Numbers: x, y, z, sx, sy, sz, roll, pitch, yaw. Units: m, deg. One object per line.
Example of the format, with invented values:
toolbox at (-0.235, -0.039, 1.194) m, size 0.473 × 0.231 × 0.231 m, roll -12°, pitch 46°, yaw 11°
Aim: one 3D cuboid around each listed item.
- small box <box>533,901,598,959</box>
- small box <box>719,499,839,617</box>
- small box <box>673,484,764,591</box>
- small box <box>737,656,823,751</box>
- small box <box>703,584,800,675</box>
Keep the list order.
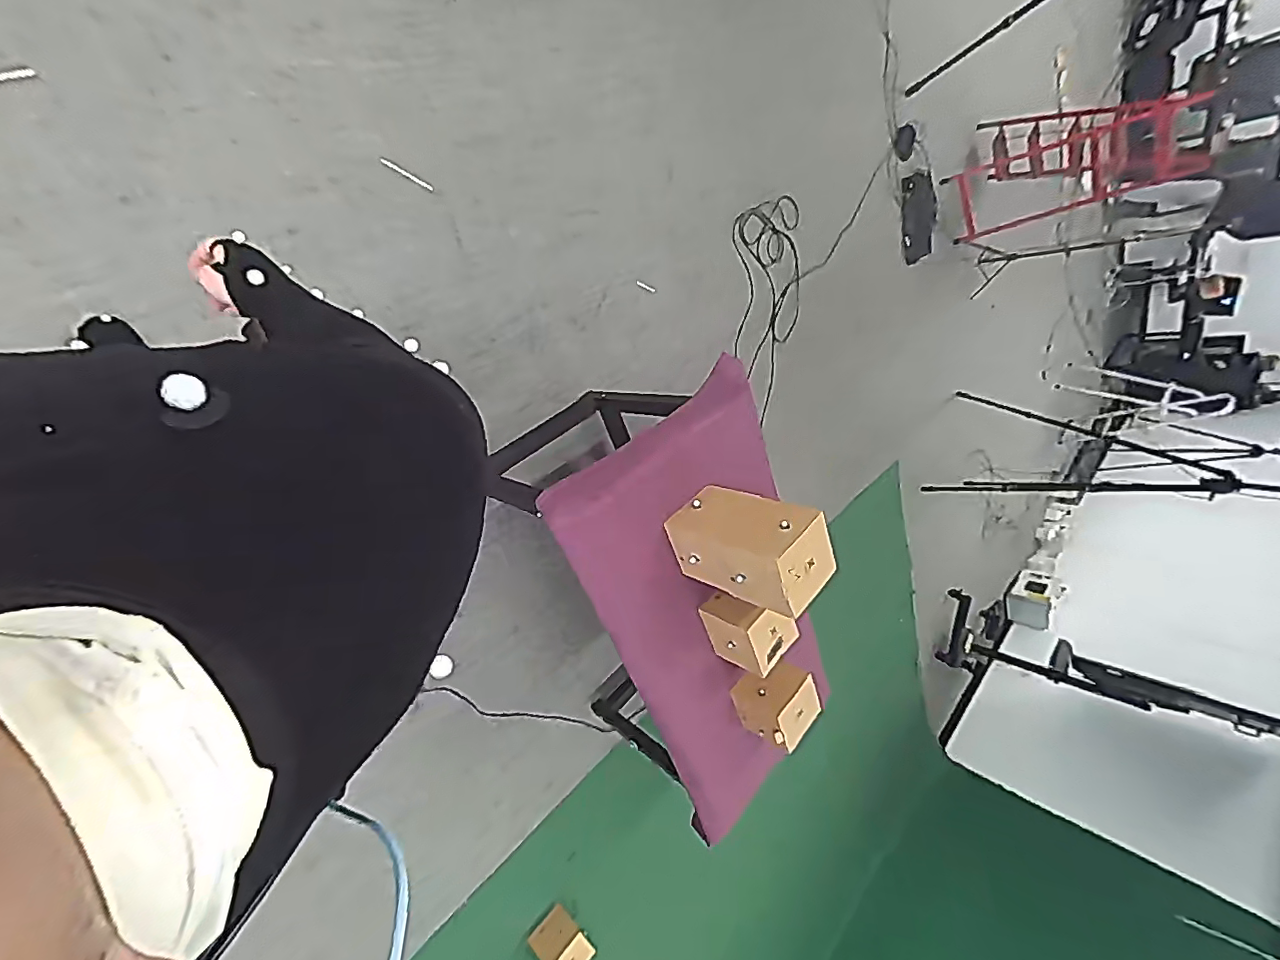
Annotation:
small box at (-0.306, 1.863, 2.187) m, size 0.168 × 0.176 × 0.179 m, roll -38°, pitch 121°, yaw -29°
small box at (0.303, 0.160, 1.183) m, size 0.179 × 0.176 × 0.168 m, roll -38°, pitch 120°, yaw -28°
small box at (0.199, 0.132, 1.308) m, size 0.179 × 0.176 × 0.168 m, roll -38°, pitch 122°, yaw -28°
small box at (0.403, 0.639, 1.583) m, size 0.179 × 0.176 × 0.168 m, roll -38°, pitch 121°, yaw -29°
small box at (0.295, 0.374, 1.438) m, size 0.168 × 0.176 × 0.179 m, roll -39°, pitch 120°, yaw -28°
